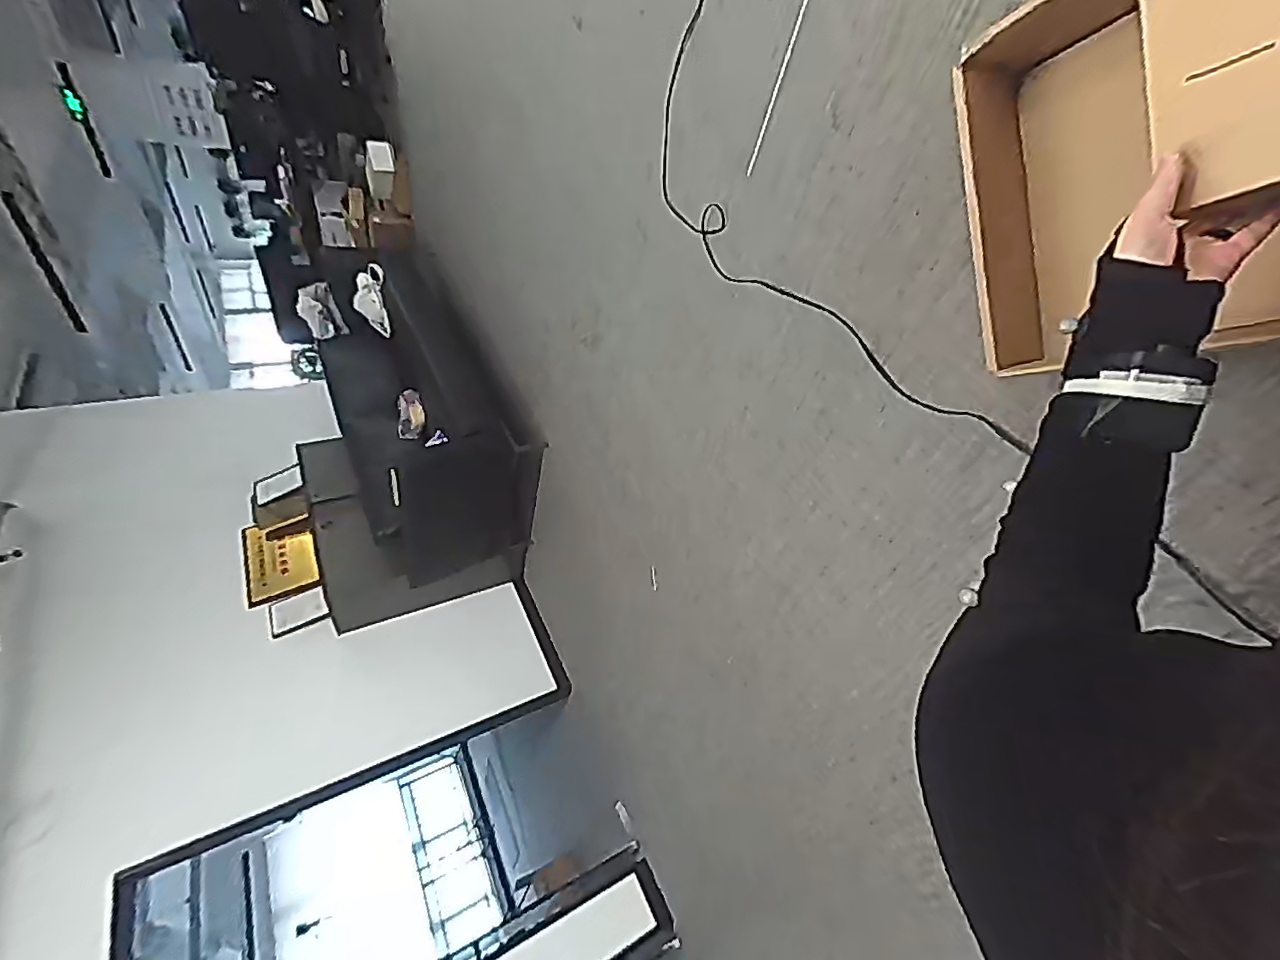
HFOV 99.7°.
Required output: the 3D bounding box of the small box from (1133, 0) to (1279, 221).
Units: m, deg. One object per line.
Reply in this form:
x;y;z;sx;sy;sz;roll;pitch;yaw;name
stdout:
0.473;-0.288;0.352;0.179;0.176;0.168;3;105;63;small box
